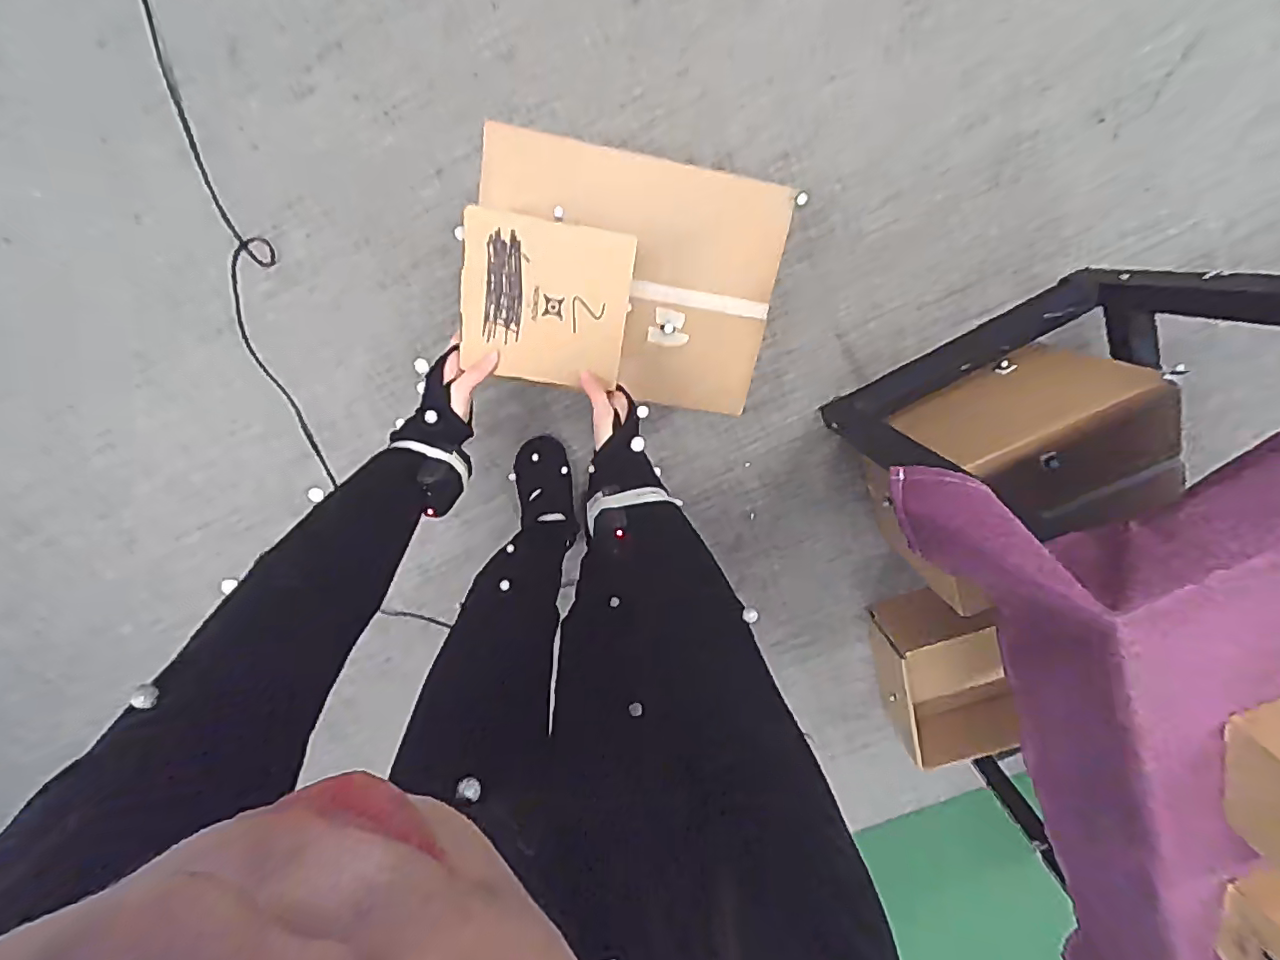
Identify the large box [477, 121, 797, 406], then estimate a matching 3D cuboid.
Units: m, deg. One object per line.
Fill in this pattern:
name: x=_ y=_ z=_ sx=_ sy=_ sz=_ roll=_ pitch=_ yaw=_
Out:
large box: x=-0.027 y=-0.332 z=0.871 sx=0.408 sy=0.320 sz=0.320 roll=8 pitch=114 yaw=-9
